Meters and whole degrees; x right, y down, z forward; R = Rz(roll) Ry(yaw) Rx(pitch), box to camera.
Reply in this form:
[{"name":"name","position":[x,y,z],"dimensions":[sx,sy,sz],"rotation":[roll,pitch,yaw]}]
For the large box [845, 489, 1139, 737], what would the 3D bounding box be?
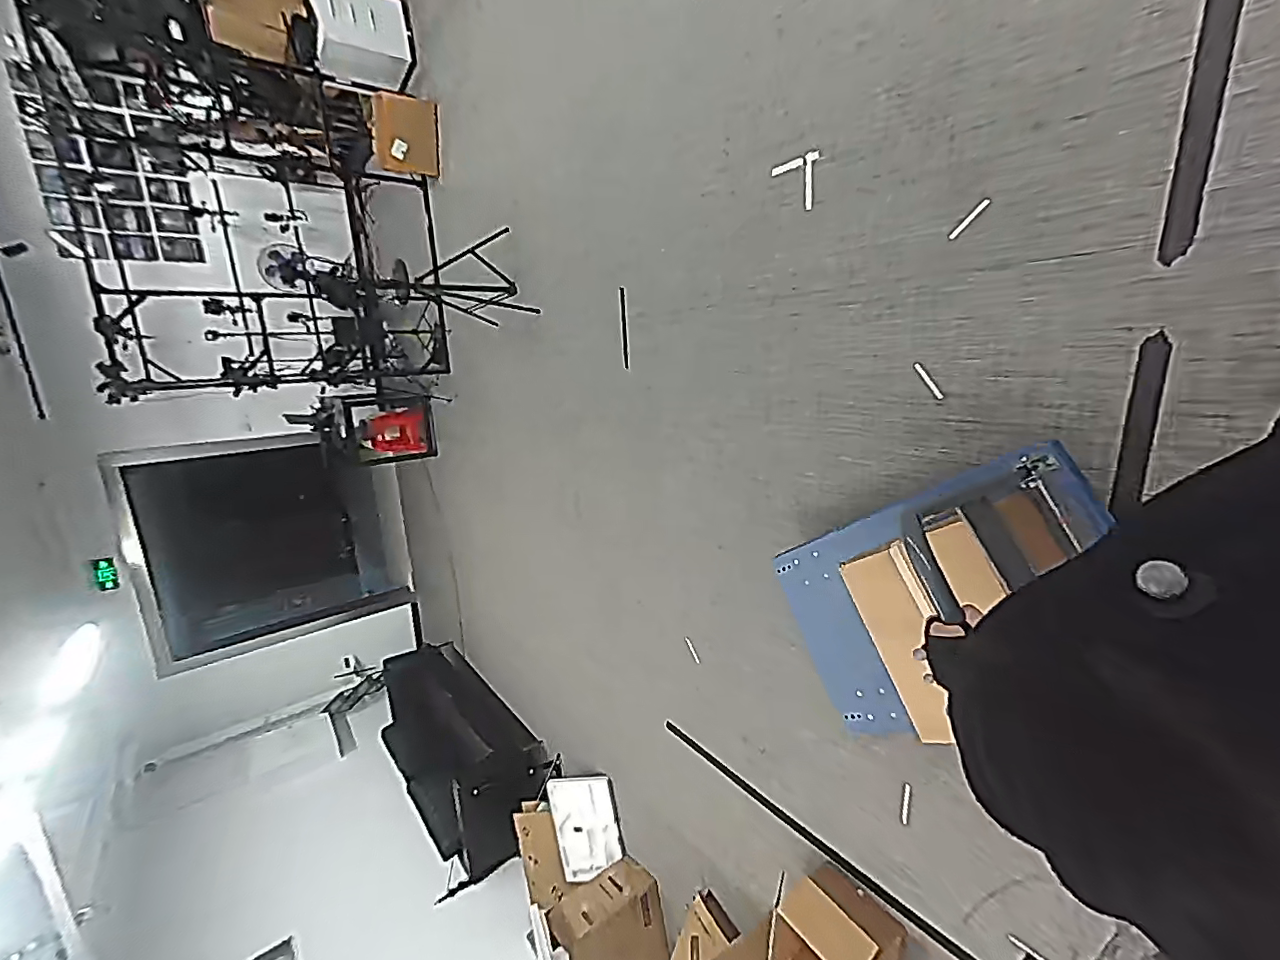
[{"name":"large box","position":[0.731,0.277,1.151],"dimensions":[0.320,0.320,0.408],"rotation":[-40,67,50]}]
